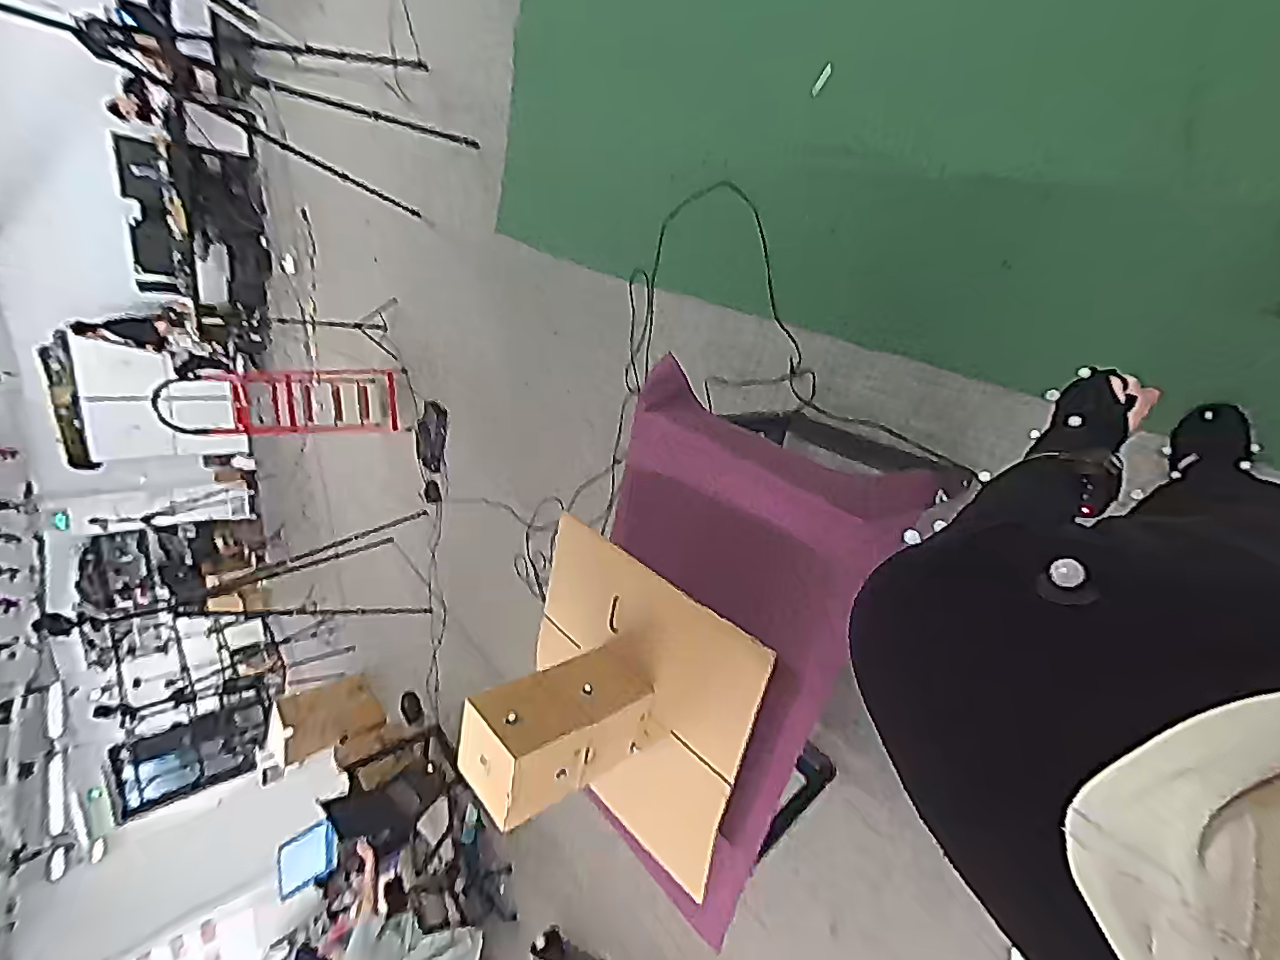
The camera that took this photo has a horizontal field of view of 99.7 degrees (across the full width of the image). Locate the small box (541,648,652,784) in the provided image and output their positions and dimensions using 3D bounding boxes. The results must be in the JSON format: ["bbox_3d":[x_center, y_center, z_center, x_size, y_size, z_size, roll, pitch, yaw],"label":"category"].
[{"bbox_3d":[-0.099,0.481,1.136,0.179,0.176,0.168,28,114,40],"label":"small box"}]

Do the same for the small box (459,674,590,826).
[{"bbox_3d":[-0.219,0.494,1.027,0.179,0.176,0.168,26,112,39],"label":"small box"}]
